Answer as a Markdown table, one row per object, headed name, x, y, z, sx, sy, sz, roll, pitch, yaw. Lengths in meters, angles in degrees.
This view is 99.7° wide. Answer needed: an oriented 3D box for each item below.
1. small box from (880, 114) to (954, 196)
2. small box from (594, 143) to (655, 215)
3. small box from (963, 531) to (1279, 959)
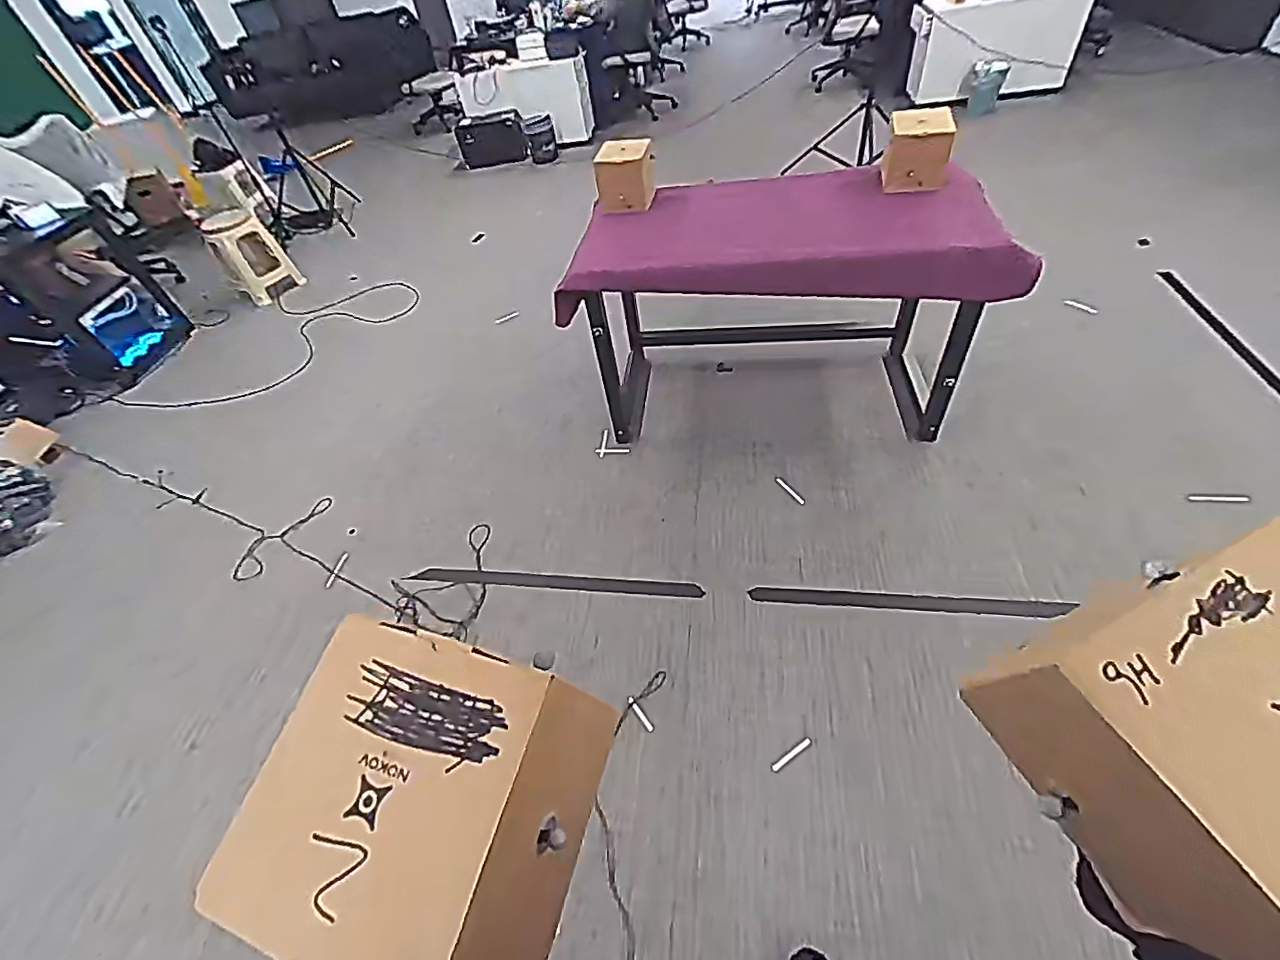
| name | x | y | z | sx | sy | sz | roll | pitch | yaw |
| --- | --- | --- | --- | --- | --- | --- | --- | --- | --- |
| small box | 0.852 | -1.008 | 1.682 | 0.168 | 0.176 | 0.179 | 4 | 54 | 14 |
| small box | -0.047 | -1.033 | 1.859 | 0.168 | 0.176 | 0.179 | 4 | 51 | 13 |
| small box | 0.360 | 0.166 | 0.348 | 0.168 | 0.176 | 0.179 | -29 | 62 | -4 |
